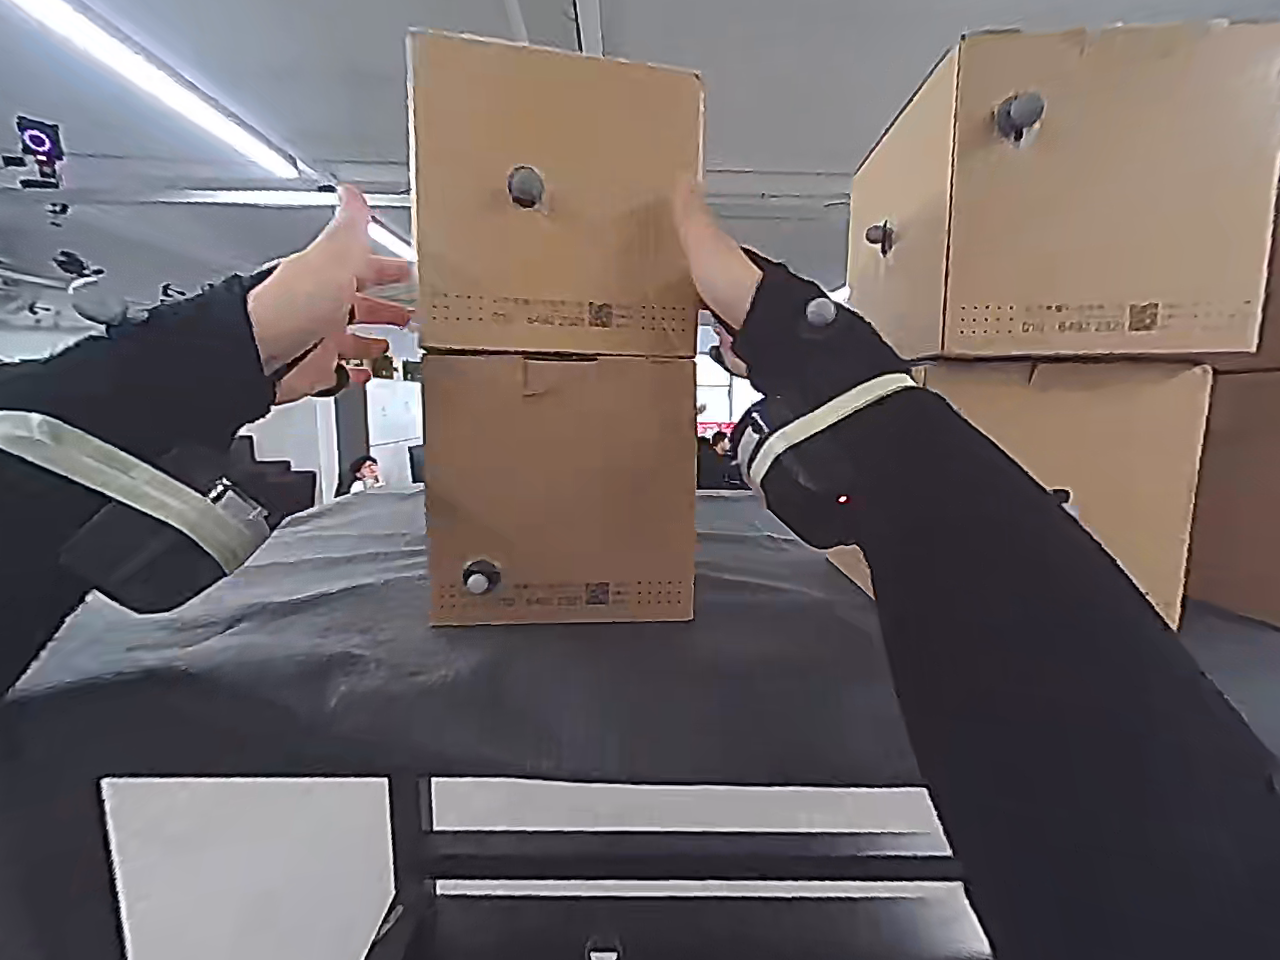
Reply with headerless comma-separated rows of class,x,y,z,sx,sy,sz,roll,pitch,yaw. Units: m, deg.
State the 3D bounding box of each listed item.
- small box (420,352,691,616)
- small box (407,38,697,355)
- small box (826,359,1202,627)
small box,-0.053,-0.002,0.413,0.168,0.176,0.179,0,6,-5
small box,-0.060,-0.164,0.392,0.168,0.176,0.179,-1,7,-12
small box,0.249,0.001,0.409,0.168,0.176,0.179,1,8,2
